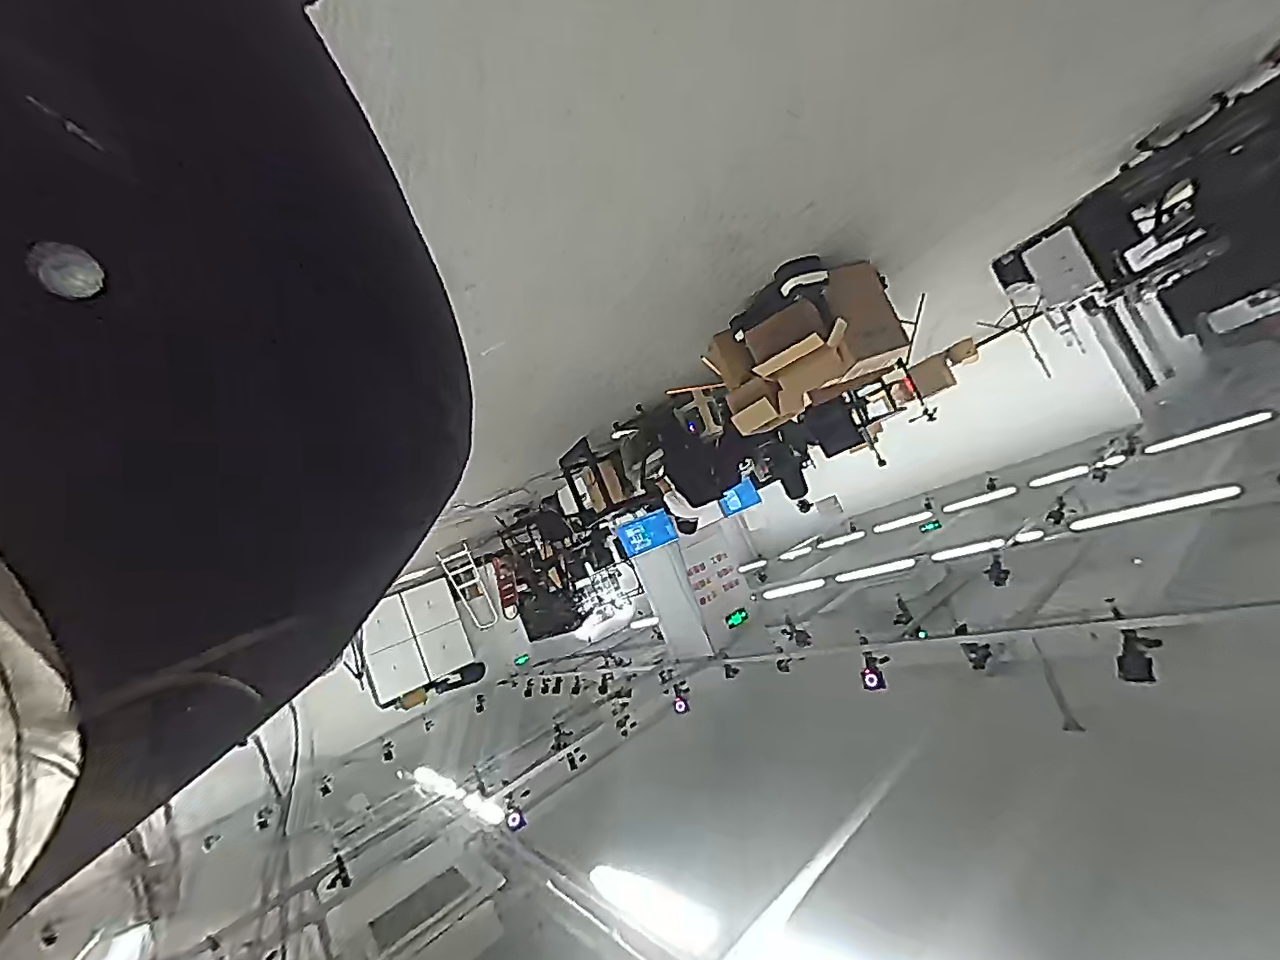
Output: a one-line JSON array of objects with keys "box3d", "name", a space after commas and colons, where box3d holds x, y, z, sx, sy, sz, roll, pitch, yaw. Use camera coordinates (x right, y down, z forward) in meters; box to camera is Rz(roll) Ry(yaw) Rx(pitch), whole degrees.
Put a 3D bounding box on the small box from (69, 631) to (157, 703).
[{"box3d": [-1.772, 0.630, 1.817, 0.179, 0.176, 0.168, -20, 173, -38], "name": "small box"}]
